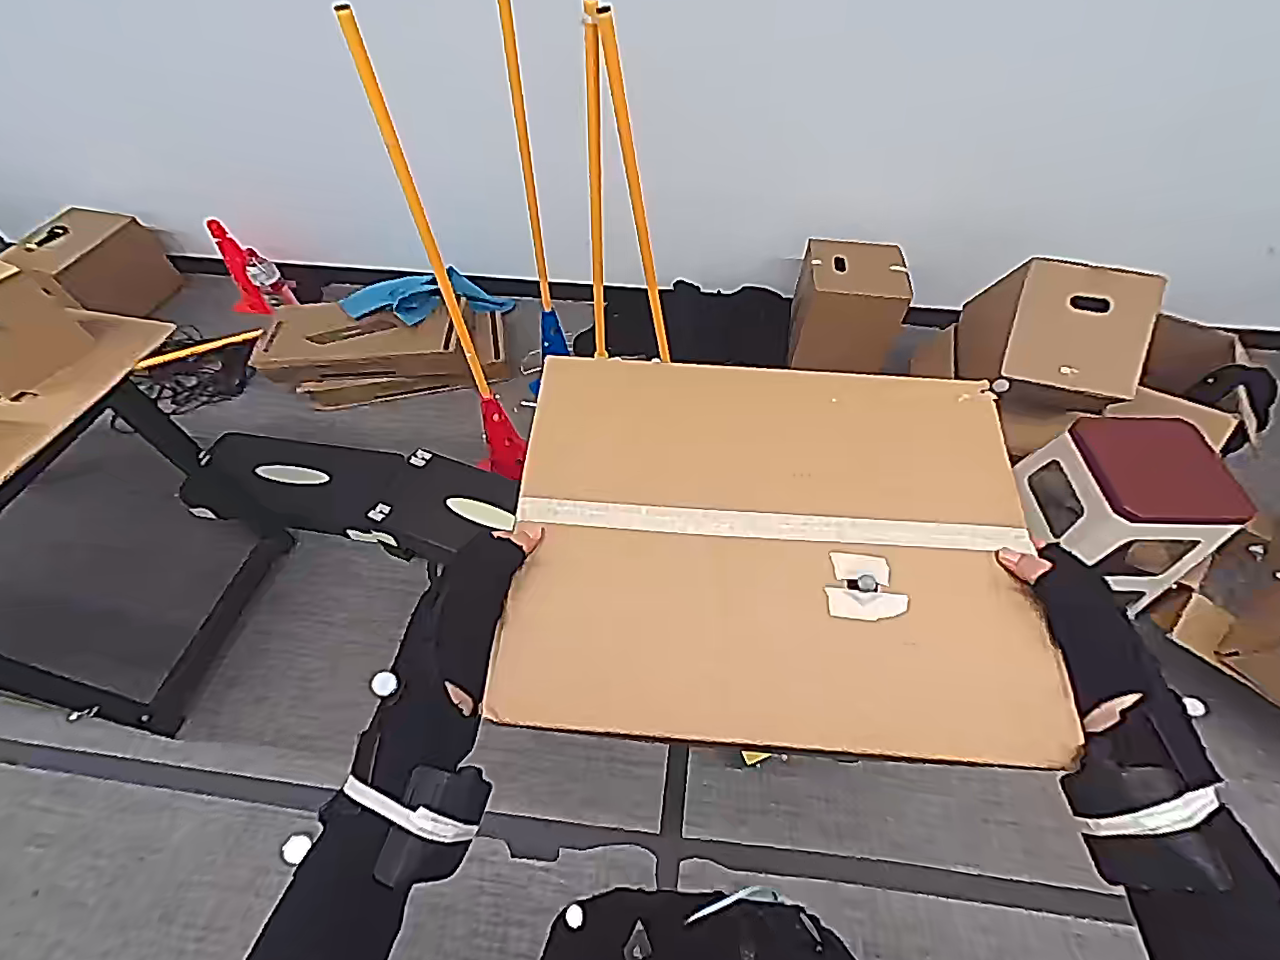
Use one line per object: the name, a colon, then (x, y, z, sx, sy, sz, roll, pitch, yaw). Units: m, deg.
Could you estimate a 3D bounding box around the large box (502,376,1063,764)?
large box: (0.105, 0.113, 0.577, 0.408, 0.320, 0.320, 4, 65, 2)
